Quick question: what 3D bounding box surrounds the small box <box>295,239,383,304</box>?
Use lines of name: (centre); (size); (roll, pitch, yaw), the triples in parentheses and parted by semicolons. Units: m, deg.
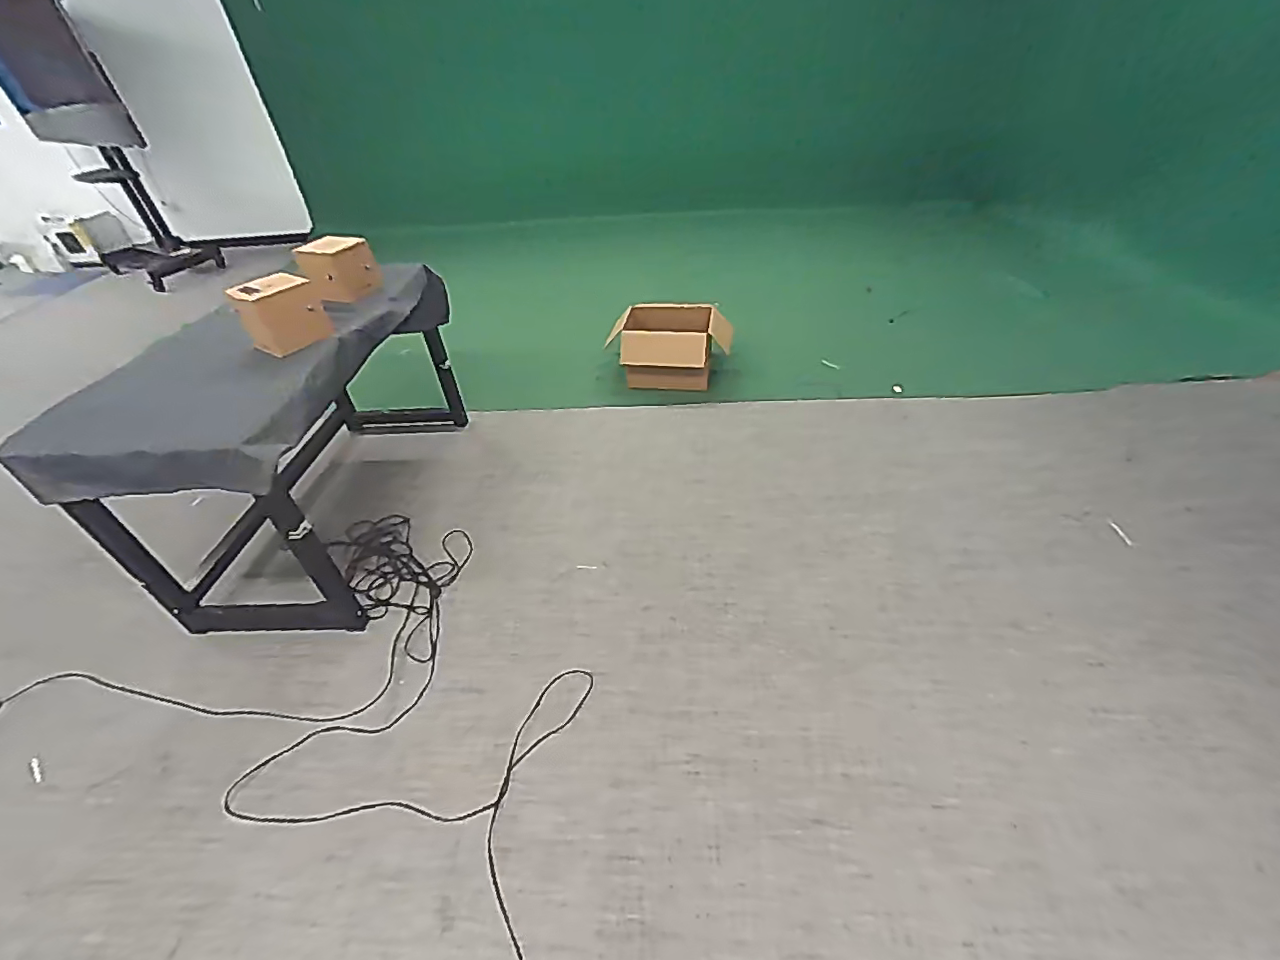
small box: (-1.035, -0.722, 1.876); (0.179, 0.176, 0.168); (10, 41, 19)
